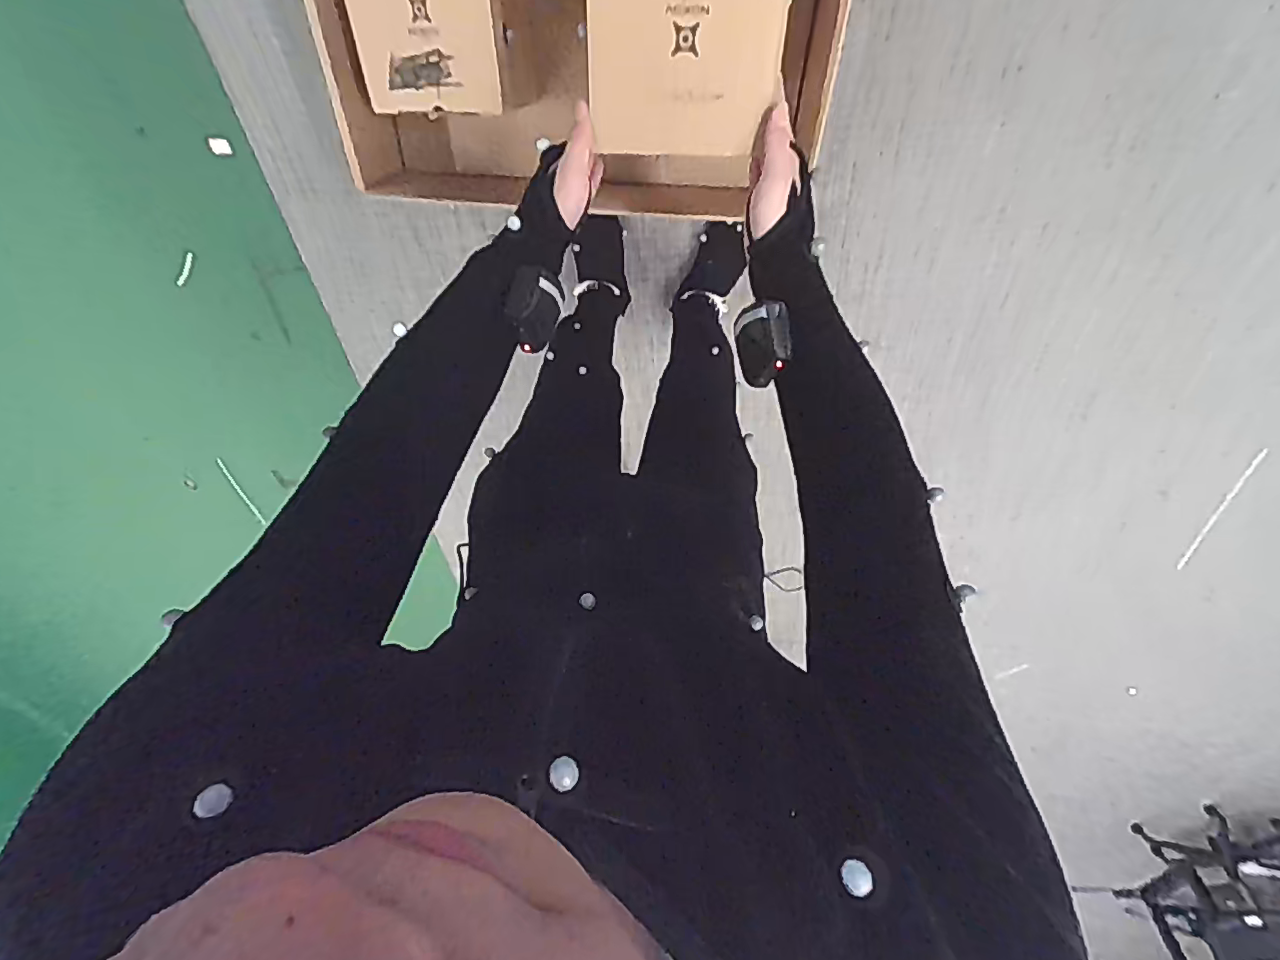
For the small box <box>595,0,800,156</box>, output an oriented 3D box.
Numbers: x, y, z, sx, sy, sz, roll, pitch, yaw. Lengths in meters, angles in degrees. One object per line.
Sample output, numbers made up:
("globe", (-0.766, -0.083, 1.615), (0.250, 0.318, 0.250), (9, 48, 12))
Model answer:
("small box", (0.047, -0.409, 0.504), (0.168, 0.176, 0.179), (3, 123, 1))
